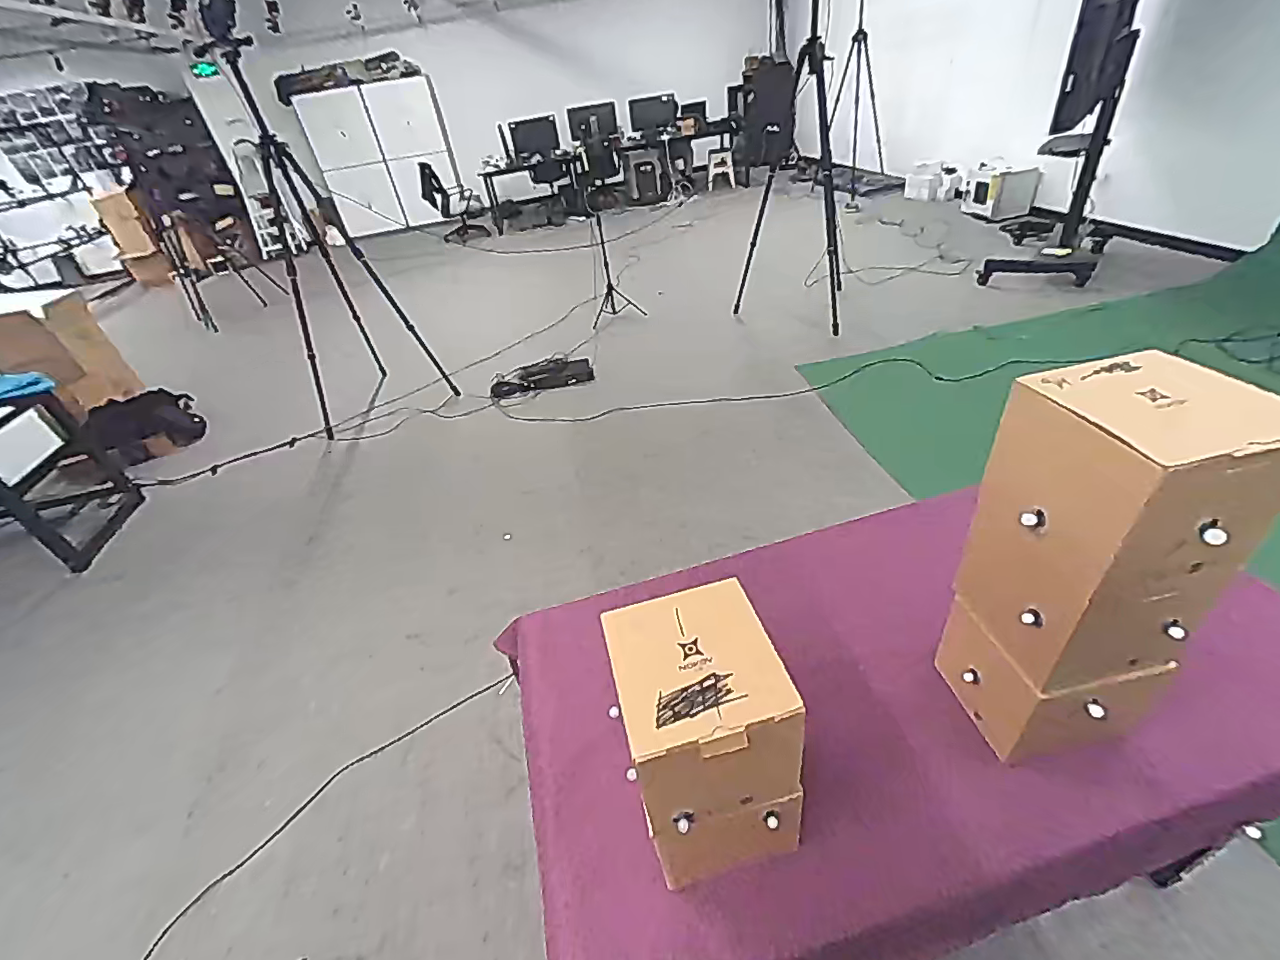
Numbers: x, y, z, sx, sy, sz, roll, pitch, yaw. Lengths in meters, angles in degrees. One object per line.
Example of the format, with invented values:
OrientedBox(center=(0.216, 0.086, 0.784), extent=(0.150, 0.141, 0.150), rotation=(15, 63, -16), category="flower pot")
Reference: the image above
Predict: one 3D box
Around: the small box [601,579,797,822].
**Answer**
OrientedBox(center=(0.063, 0.247, 0.603), extent=(0.168, 0.176, 0.179), rotation=(-14, 35, -6), category="small box")

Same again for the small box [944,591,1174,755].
OrientedBox(center=(0.548, 0.250, 0.743), extent=(0.179, 0.176, 0.168), rotation=(-12, 37, -1), category="small box")

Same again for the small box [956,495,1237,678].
OrientedBox(center=(0.521, 0.117, 0.653), extent=(0.168, 0.176, 0.179), rotation=(-12, 36, -2), category="small box")

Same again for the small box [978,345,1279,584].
OrientedBox(center=(0.492, -0.013, 0.555), extent=(0.168, 0.176, 0.179), rotation=(-12, 37, -3), category="small box")

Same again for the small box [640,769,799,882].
OrientedBox(center=(0.090, 0.379, 0.697), extent=(0.179, 0.176, 0.168), rotation=(-14, 37, -5), category="small box")
